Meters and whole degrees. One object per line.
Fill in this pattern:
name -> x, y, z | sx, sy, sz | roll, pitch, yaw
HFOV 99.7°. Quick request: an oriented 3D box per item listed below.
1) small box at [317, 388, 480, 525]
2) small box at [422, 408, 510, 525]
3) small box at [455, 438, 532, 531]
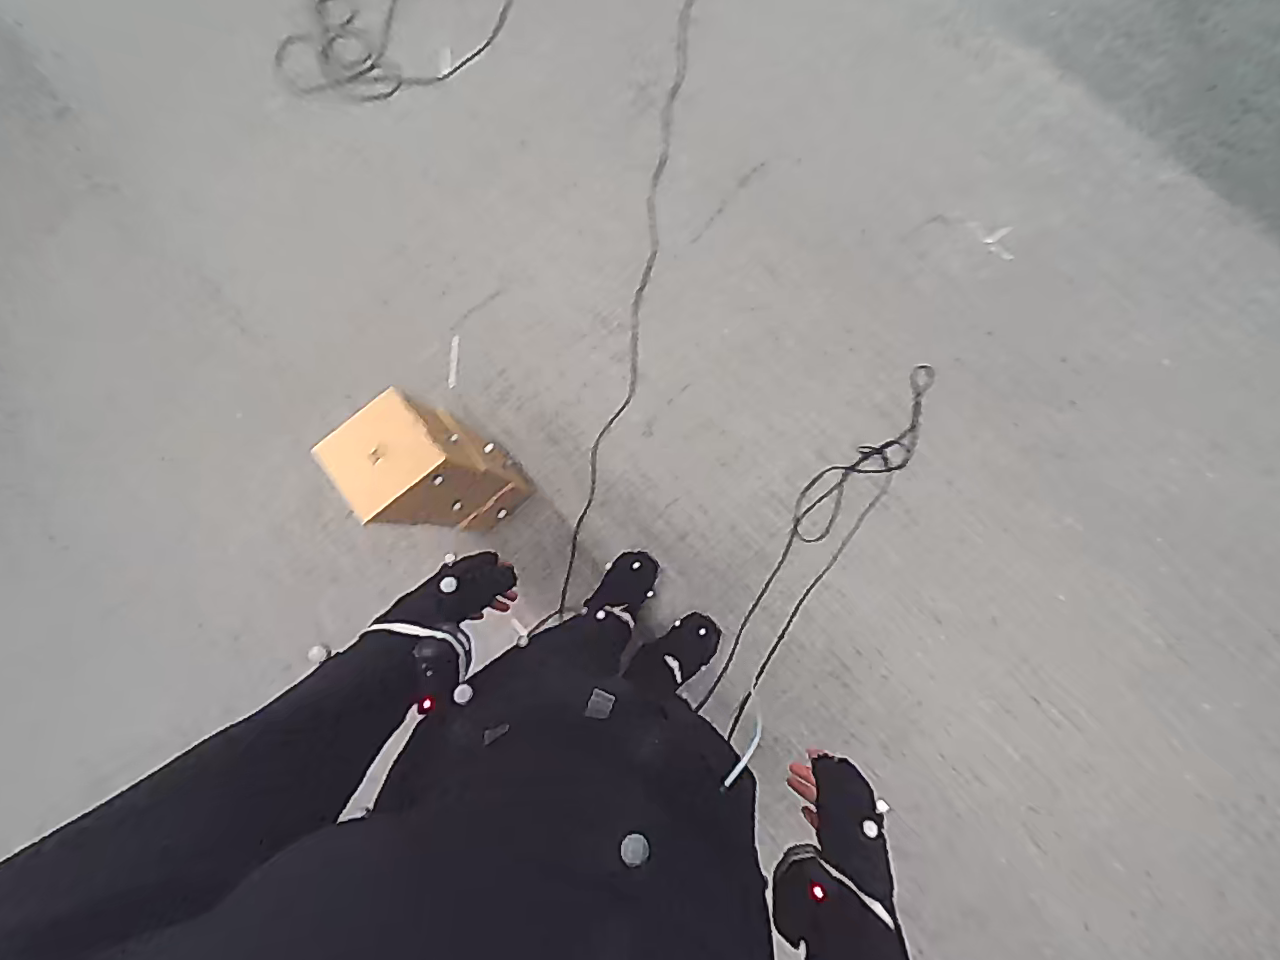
small box -> -0.426, -0.032, 0.982 | 0.179, 0.176, 0.168 | -39, 81, -1
small box -> -0.406, -0.018, 1.143 | 0.179, 0.176, 0.168 | -38, 81, -1
small box -> -0.388, 0.007, 1.304 | 0.168, 0.176, 0.179 | -39, 82, -1
